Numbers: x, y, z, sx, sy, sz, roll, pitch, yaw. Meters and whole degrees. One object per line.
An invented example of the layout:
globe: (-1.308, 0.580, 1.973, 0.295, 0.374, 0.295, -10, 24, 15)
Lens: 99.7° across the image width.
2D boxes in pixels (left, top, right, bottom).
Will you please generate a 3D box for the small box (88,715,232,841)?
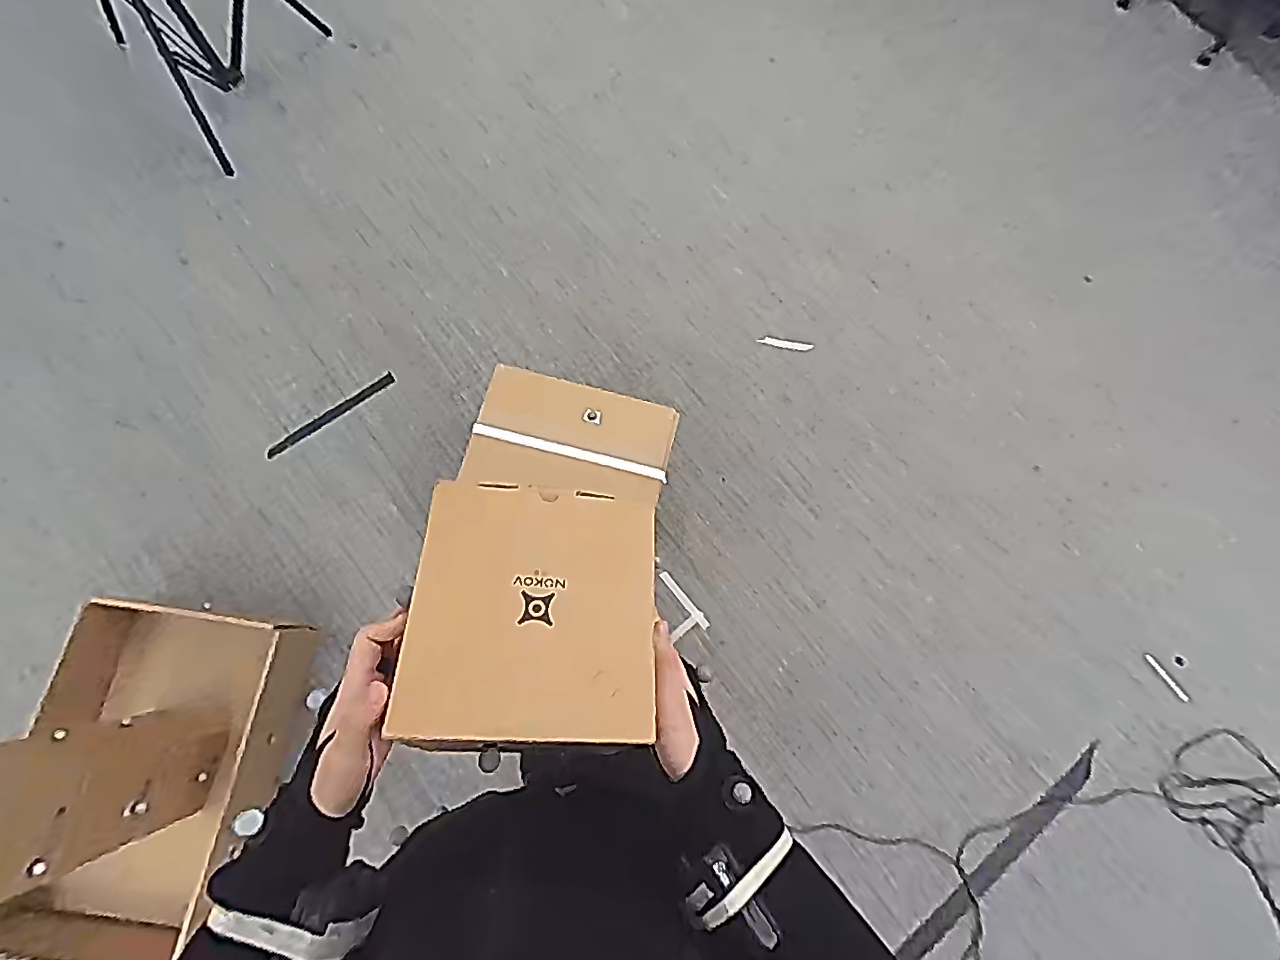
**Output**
small box: (-0.973, 0.577, 1.071, 0.179, 0.176, 0.168, 12, 75, -1)

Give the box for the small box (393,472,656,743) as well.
small box: (-0.084, 0.115, 0.444, 0.168, 0.176, 0.179, 5, 59, -10)

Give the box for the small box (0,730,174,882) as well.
small box: (-0.963, 0.535, 0.915, 0.179, 0.176, 0.168, 11, 76, -2)
